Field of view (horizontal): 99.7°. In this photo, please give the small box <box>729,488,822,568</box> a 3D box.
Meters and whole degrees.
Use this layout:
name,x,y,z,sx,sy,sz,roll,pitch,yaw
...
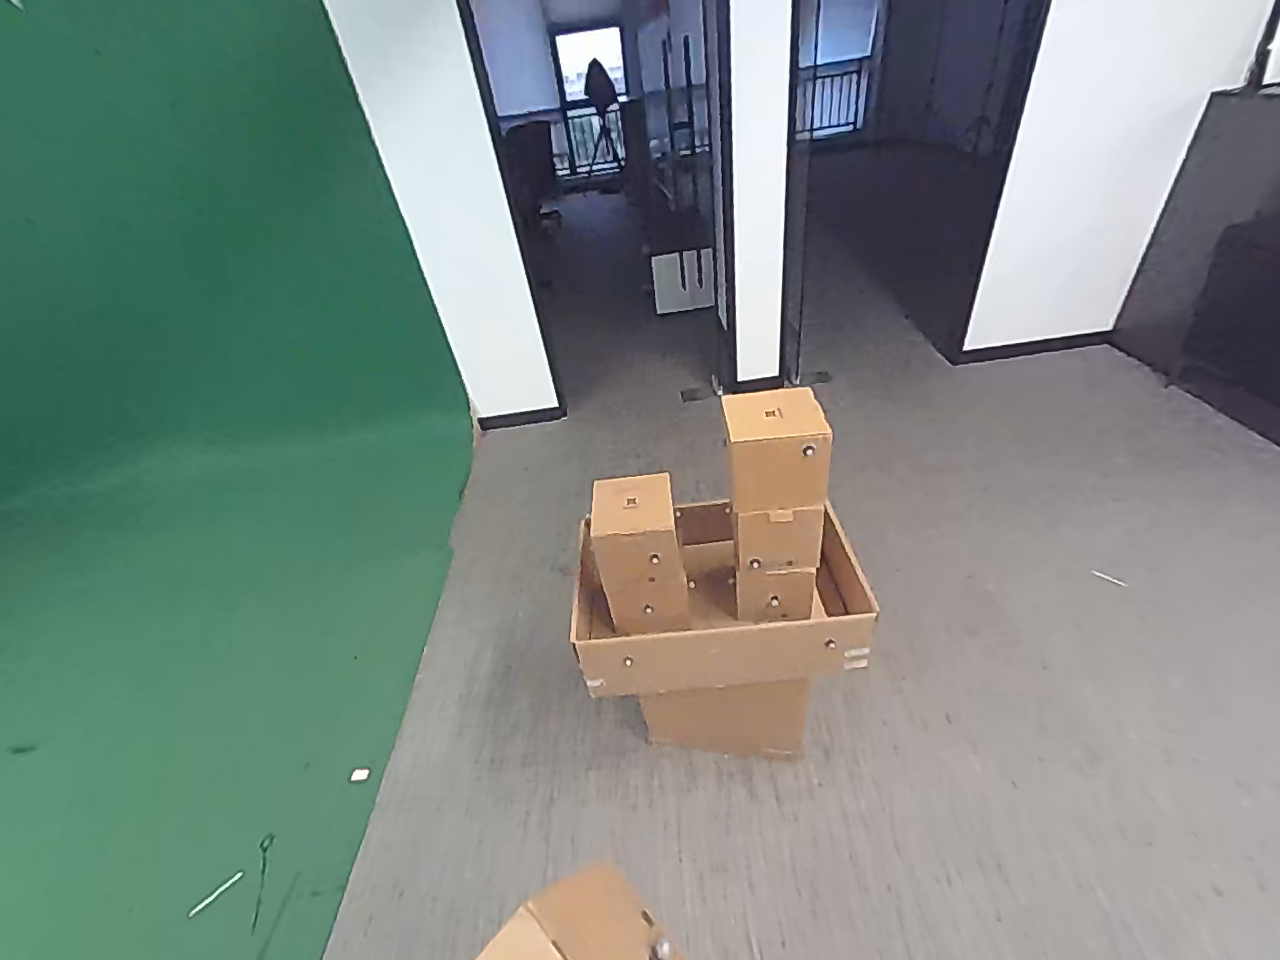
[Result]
name,x,y,z,sx,sy,sz,roll,pitch,yaw
small box,0.279,0.073,1.142,0.168,0.176,0.179,-5,37,5

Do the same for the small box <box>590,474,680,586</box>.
name,x,y,z,sx,sy,sz,roll,pitch,yaw
small box,-0.005,0.111,1.147,0.168,0.176,0.179,-6,38,3

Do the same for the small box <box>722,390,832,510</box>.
name,x,y,z,sx,sy,sz,roll,pitch,yaw
small box,0.255,-0.055,1.043,0.179,0.176,0.168,-4,38,4
